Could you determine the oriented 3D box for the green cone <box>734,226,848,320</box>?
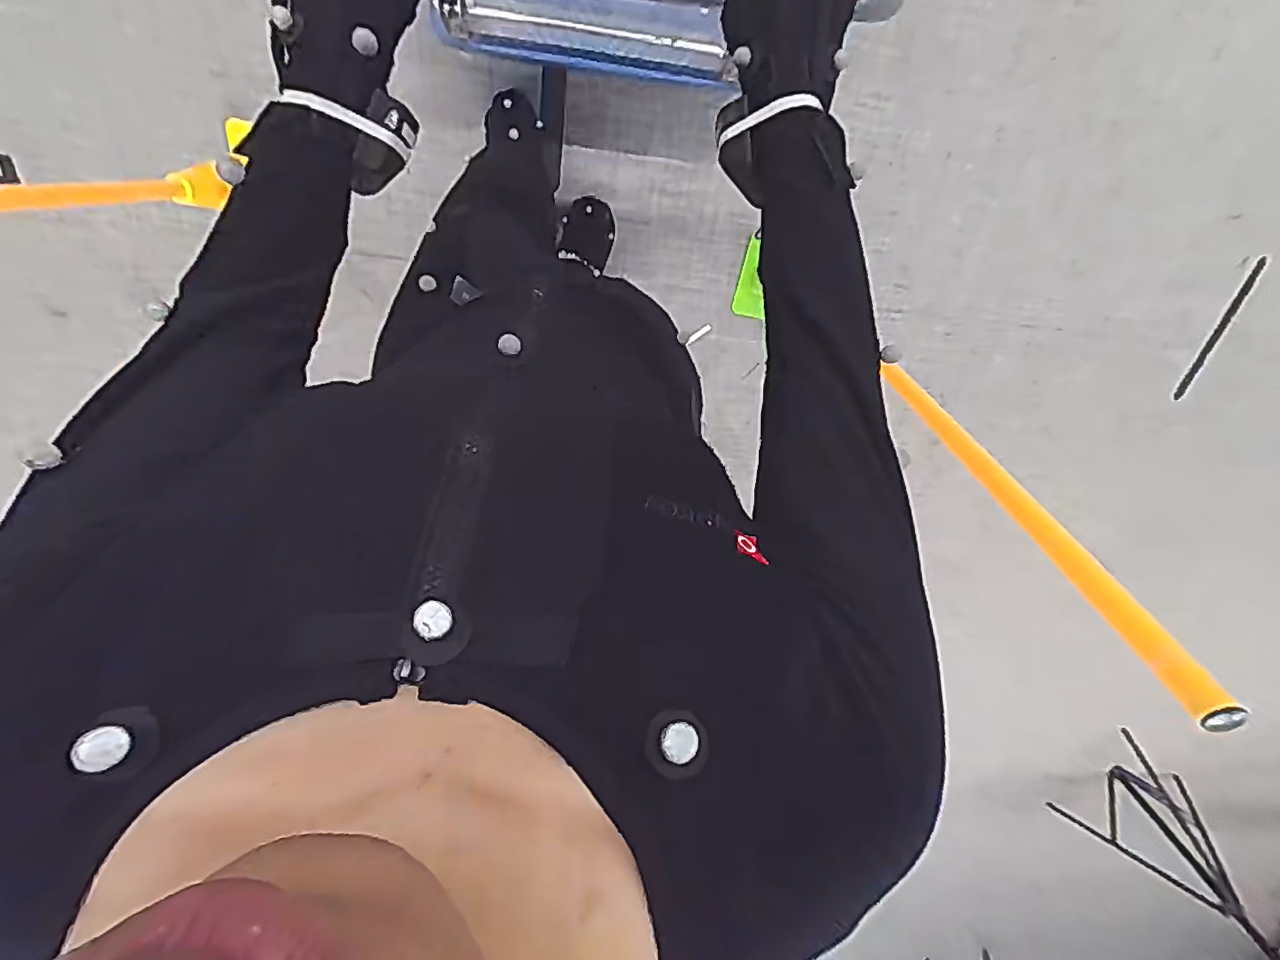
[{"bbox_3d":[0.361,-0.420,1.192,0.202,0.368,0.200,7,120,-10],"label":"green cone"}]
